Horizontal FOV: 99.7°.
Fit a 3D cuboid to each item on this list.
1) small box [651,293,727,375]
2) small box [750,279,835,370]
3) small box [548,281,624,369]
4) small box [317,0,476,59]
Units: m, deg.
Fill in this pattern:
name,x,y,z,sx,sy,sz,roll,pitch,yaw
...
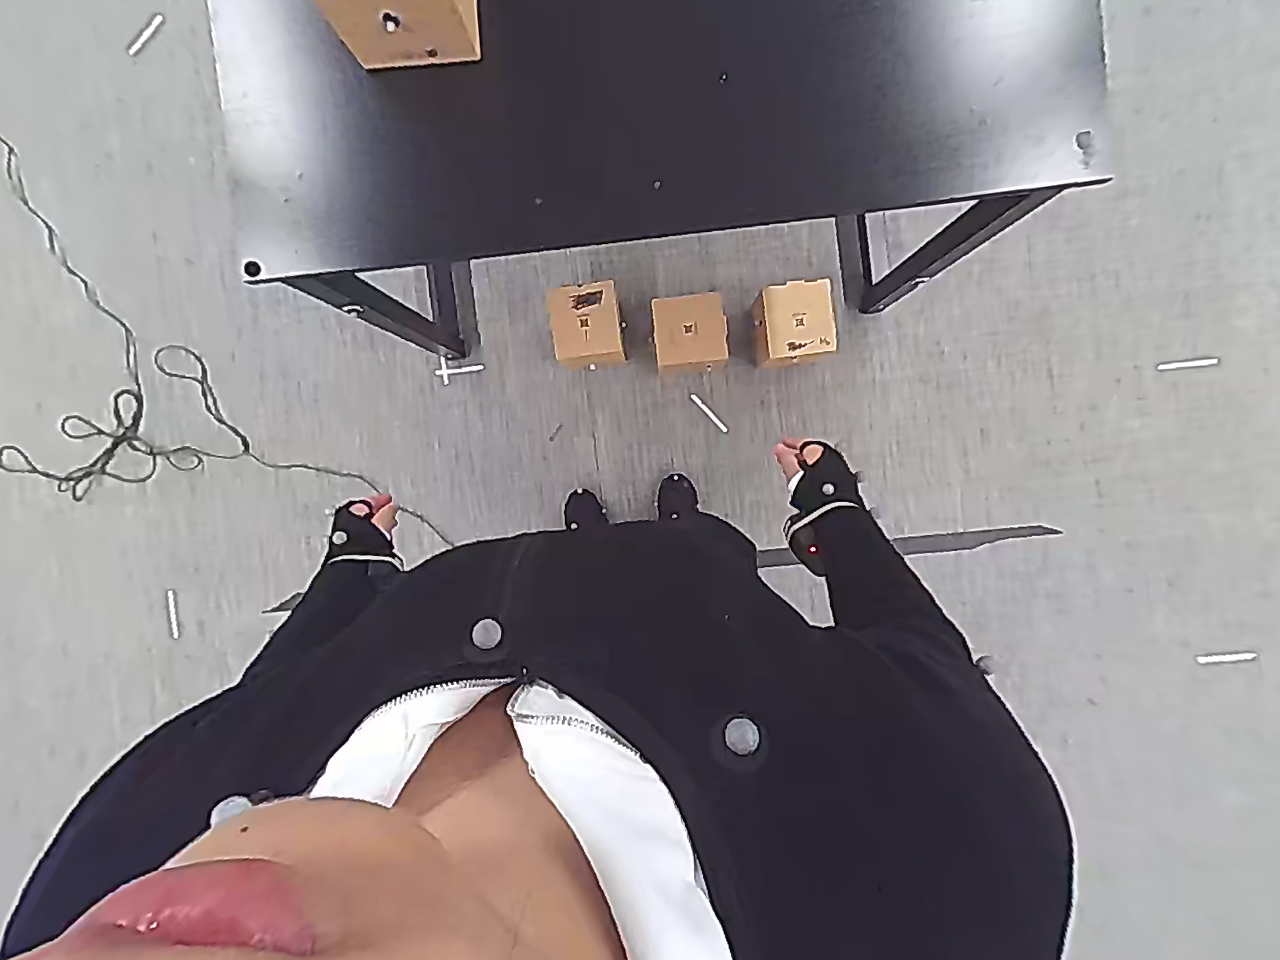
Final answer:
name,x,y,z,sx,sy,sz,roll,pitch,yaw
small box,0.122,-0.370,1.395,0.179,0.176,0.168,-6,92,3
small box,0.383,-0.392,1.384,0.168,0.176,0.179,-7,91,3
small box,-0.135,-0.395,1.400,0.168,0.176,0.179,-7,93,2
small box,-0.309,-0.659,0.665,0.168,0.176,0.179,-3,92,1
